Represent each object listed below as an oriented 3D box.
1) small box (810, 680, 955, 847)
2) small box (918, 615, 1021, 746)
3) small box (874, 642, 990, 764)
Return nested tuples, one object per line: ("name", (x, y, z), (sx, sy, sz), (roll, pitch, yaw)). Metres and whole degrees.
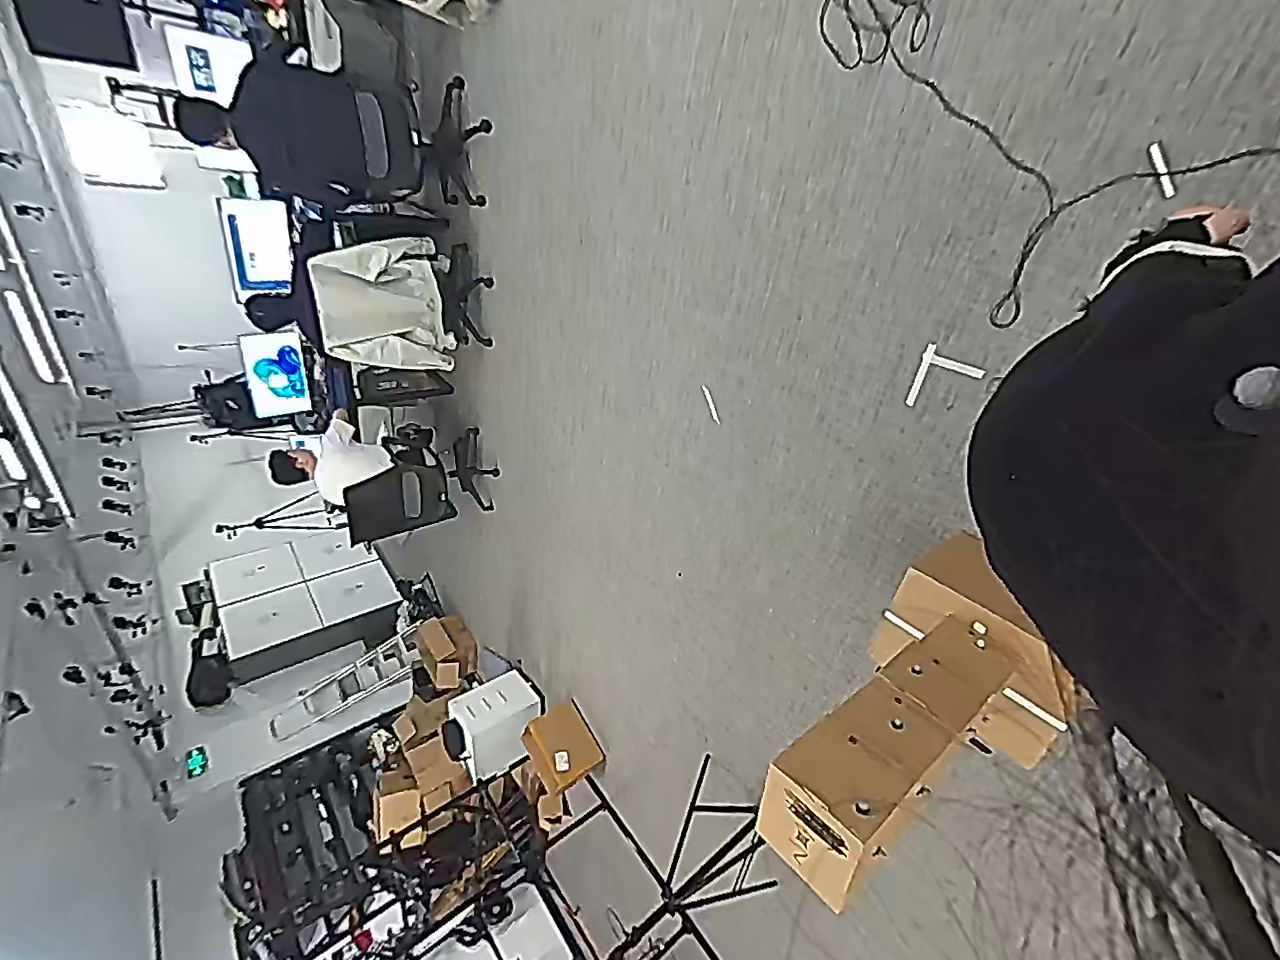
("small box", (0.446, 0.506, 0.993), (0.168, 0.176, 0.179), (30, 126, 44))
("small box", (0.697, 0.433, 1.189), (0.168, 0.176, 0.179), (35, 128, 39))
("small box", (0.570, 0.464, 1.092), (0.168, 0.176, 0.179), (34, 129, 41))
